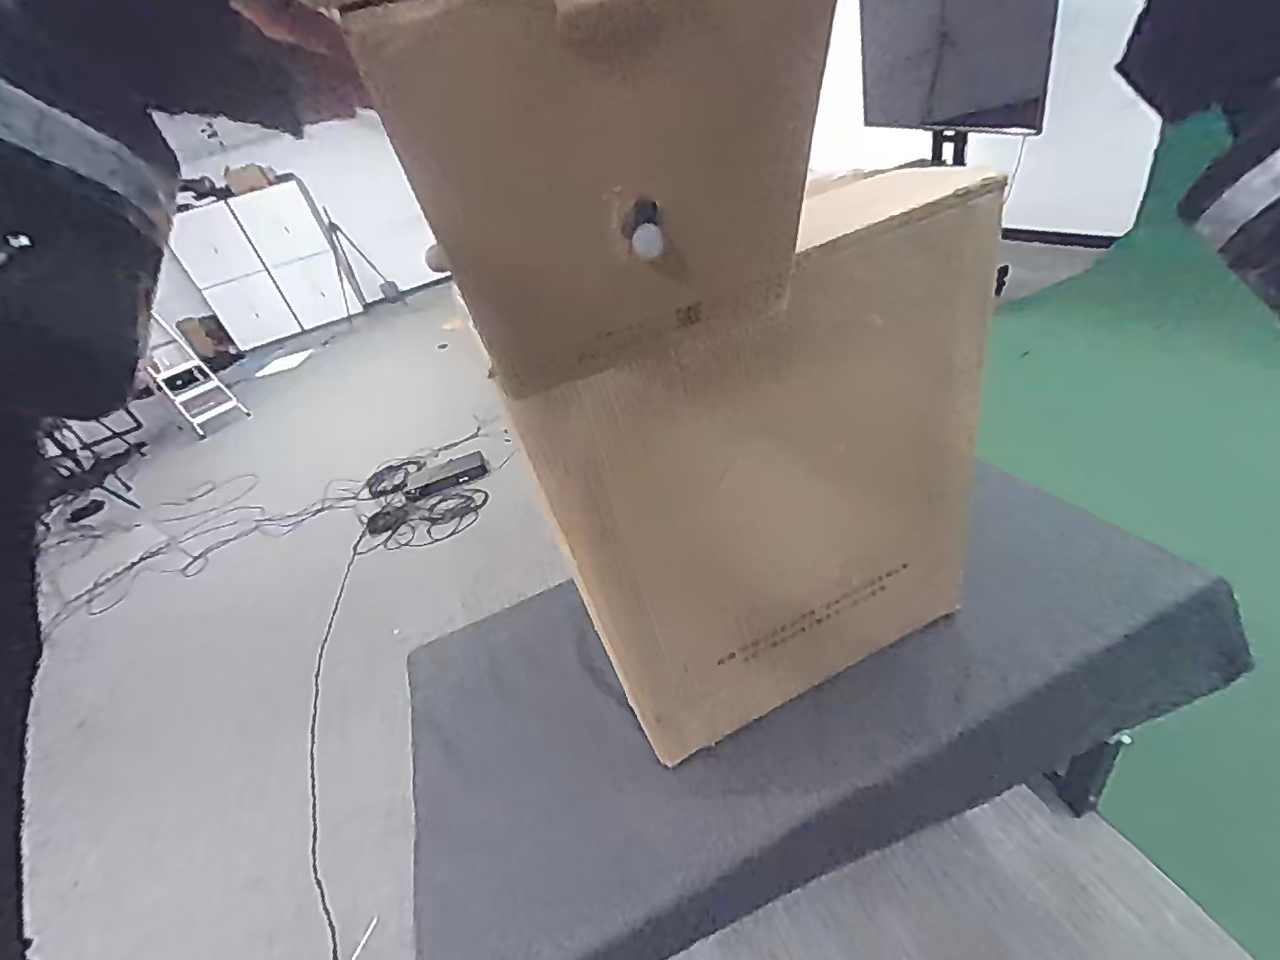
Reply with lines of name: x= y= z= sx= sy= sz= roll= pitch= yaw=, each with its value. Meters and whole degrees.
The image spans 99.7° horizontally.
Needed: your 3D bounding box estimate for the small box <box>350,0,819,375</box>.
small box: x=-0.028 y=-0.177 z=0.282 sx=0.168 sy=0.176 sz=0.179 roll=-20 pitch=58 yaw=-6
